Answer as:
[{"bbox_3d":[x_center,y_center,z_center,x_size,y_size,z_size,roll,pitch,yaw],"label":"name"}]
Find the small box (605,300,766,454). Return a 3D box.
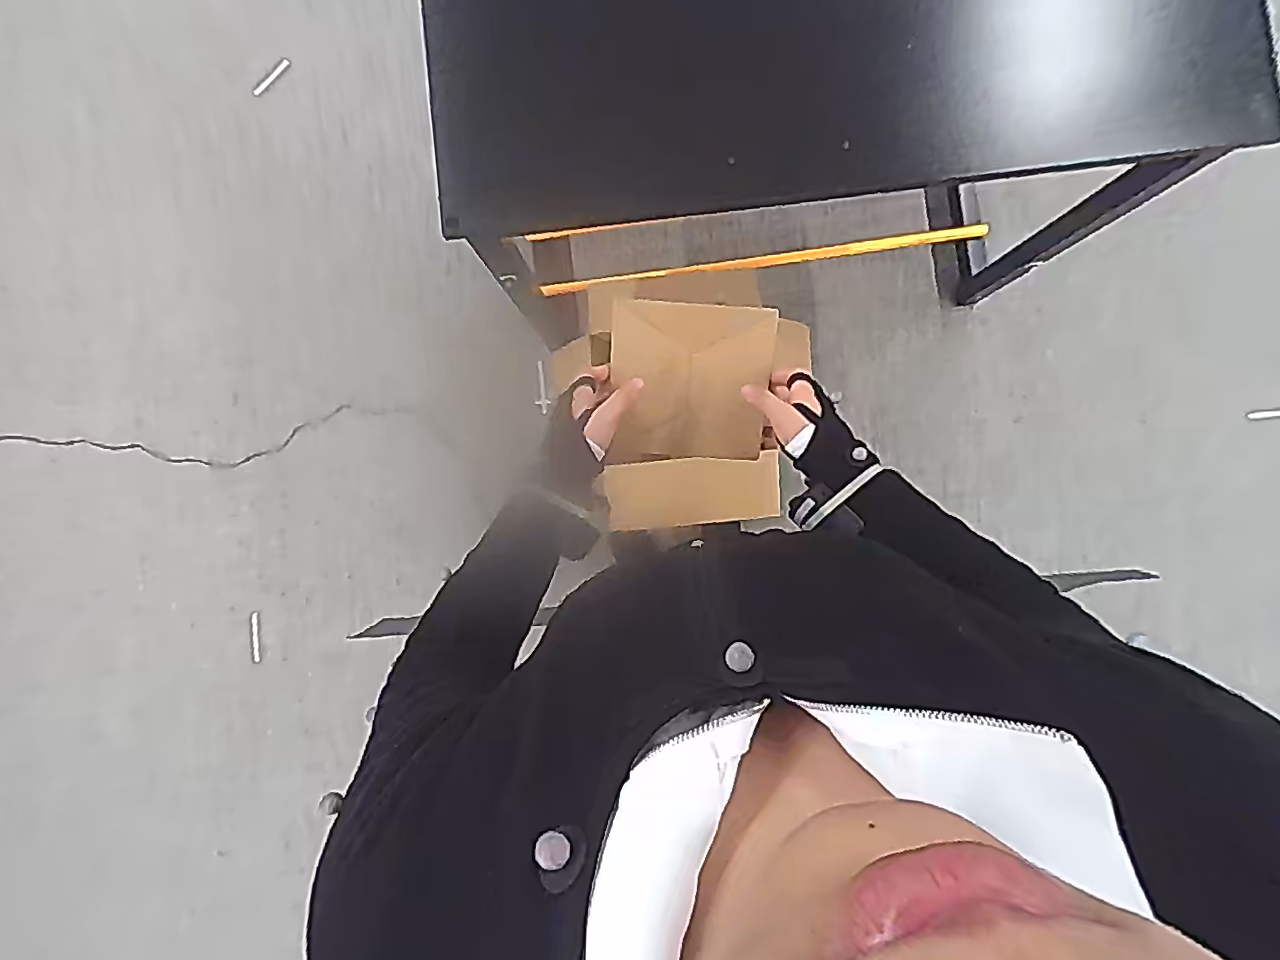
[{"bbox_3d":[0.052,-0.131,0.668,0.179,0.176,0.168,3,107,-1],"label":"small box"}]
